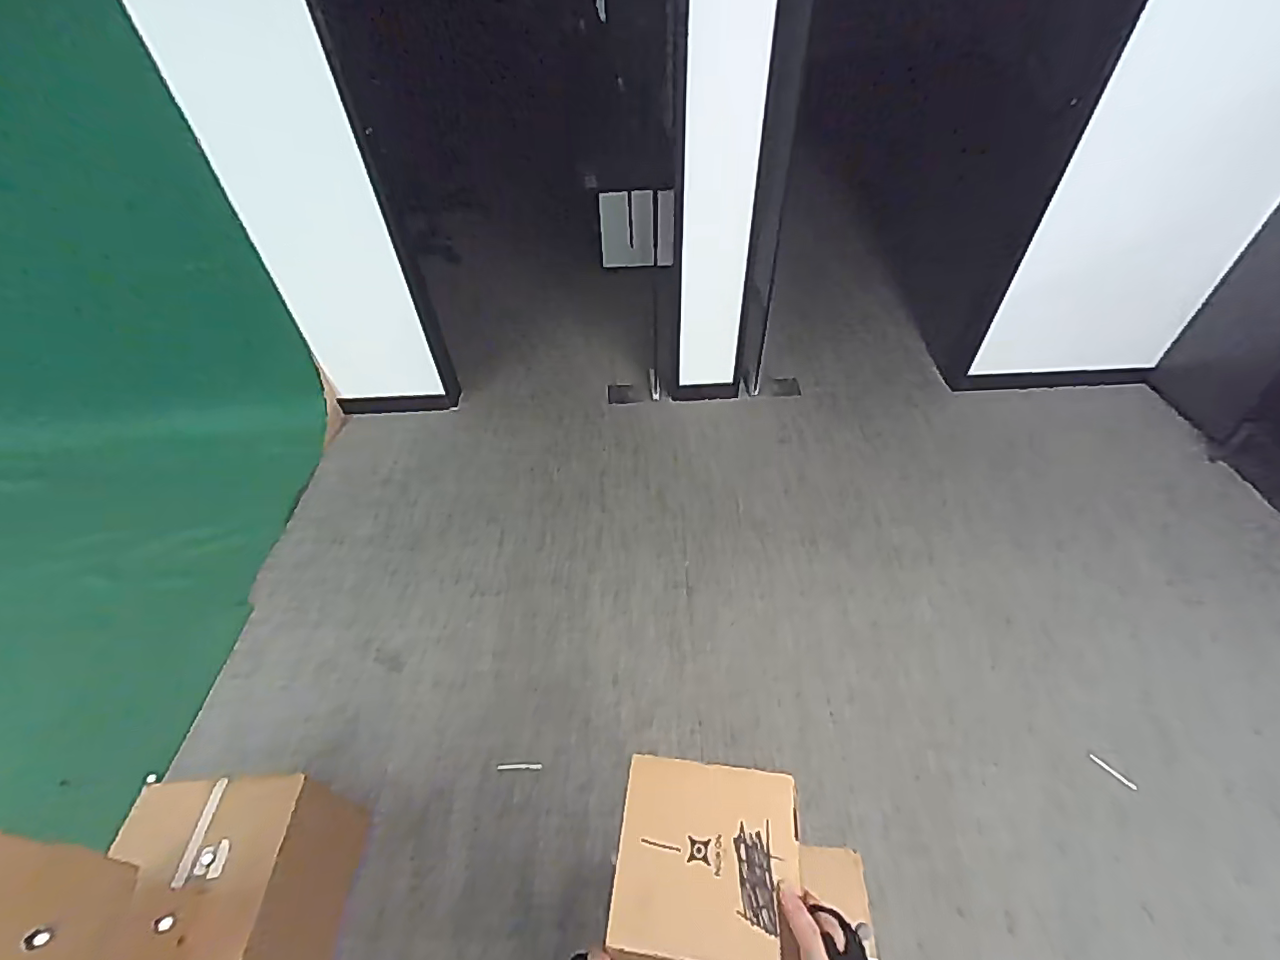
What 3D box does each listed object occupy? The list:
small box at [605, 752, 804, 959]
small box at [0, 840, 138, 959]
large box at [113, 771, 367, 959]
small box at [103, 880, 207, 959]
[{"bbox_3d":[0.069,0.419,0.581,0.179,0.176,0.168,4,44,8],"label":"small box"},{"bbox_3d":[-0.807,0.587,0.684,0.168,0.176,0.179,-7,45,-4],"label":"small box"},{"bbox_3d":[-0.781,0.826,1.020,0.320,0.320,0.408,-3,45,-1],"label":"large box"},{"bbox_3d":[-0.802,0.706,0.796,0.179,0.176,0.168,-5,45,-1],"label":"small box"}]
